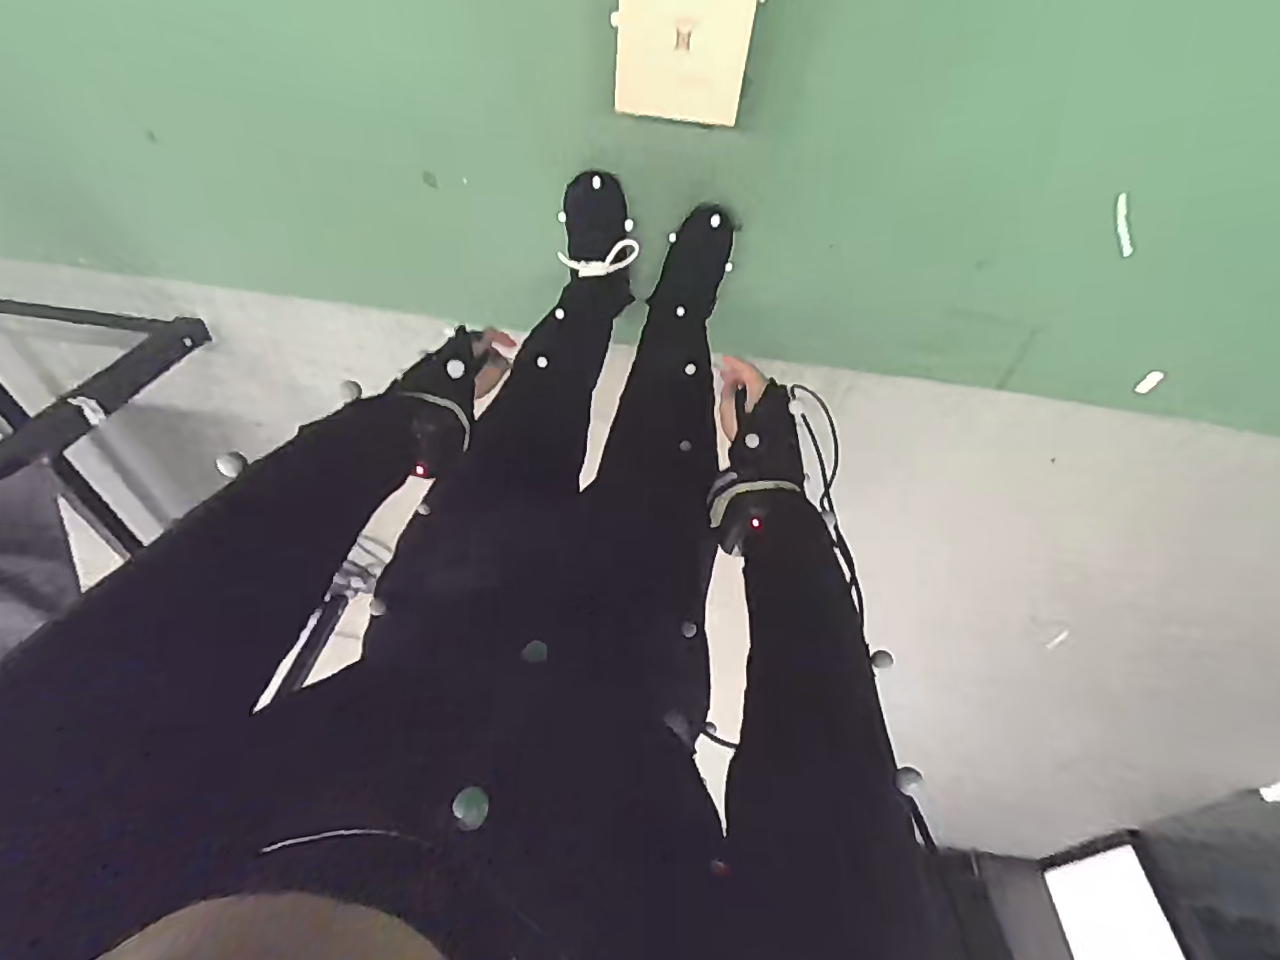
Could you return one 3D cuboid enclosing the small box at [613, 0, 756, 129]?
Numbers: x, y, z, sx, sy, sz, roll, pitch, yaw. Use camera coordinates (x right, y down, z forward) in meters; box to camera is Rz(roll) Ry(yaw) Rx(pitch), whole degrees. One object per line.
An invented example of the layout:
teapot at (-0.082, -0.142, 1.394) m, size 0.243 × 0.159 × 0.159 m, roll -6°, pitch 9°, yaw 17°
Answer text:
small box at (0.059, -0.601, 0.728) m, size 0.168 × 0.176 × 0.179 m, roll 8°, pitch 135°, yaw 1°
